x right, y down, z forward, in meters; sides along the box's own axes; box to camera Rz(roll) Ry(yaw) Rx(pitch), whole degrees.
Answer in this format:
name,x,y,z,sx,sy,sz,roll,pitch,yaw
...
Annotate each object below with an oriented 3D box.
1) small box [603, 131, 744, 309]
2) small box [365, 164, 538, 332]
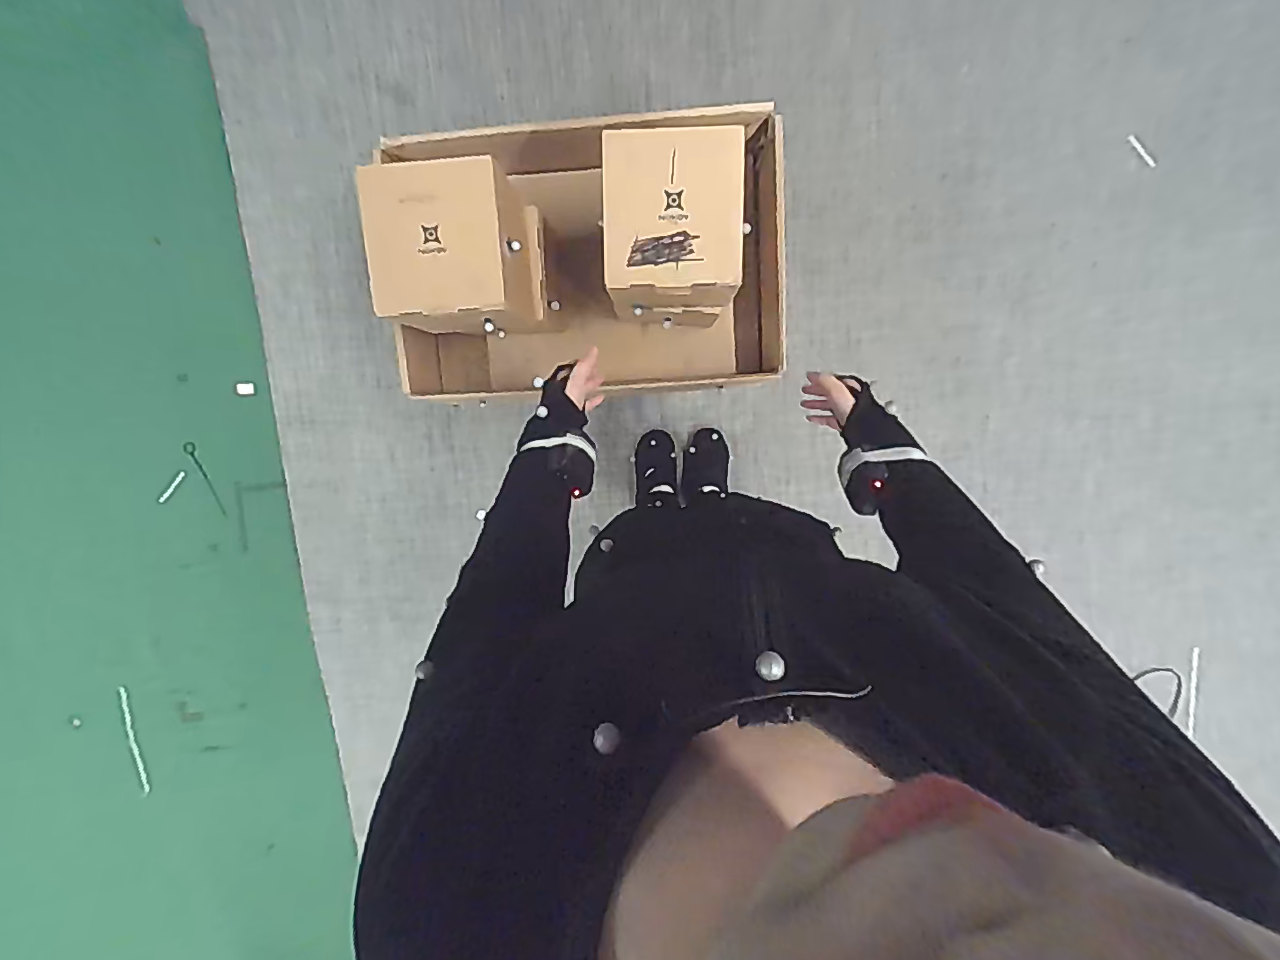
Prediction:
name,x,y,z,sx,sy,sz,roll,pitch,yaw
small box,0.044,-0.325,0.713,0.168,0.176,0.179,0,98,4
small box,-0.242,-0.299,0.737,0.168,0.176,0.179,-2,98,4
